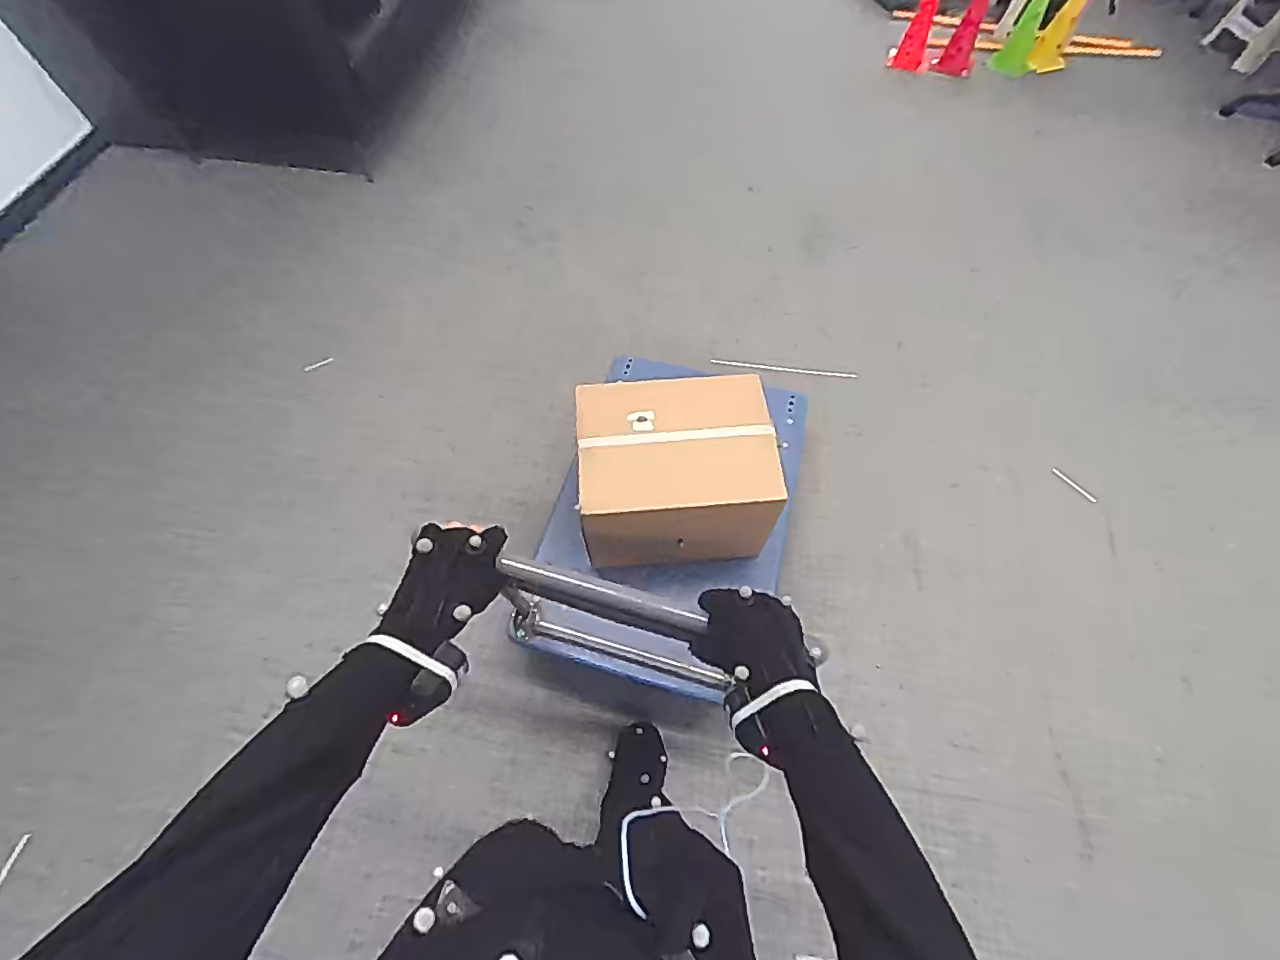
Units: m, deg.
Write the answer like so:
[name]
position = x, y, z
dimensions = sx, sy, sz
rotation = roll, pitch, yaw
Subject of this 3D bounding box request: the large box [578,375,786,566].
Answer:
[large box]
position = 0.081, -0.009, 1.252
dimensions = 0.408, 0.320, 0.320
rotation = -5, 60, -1
